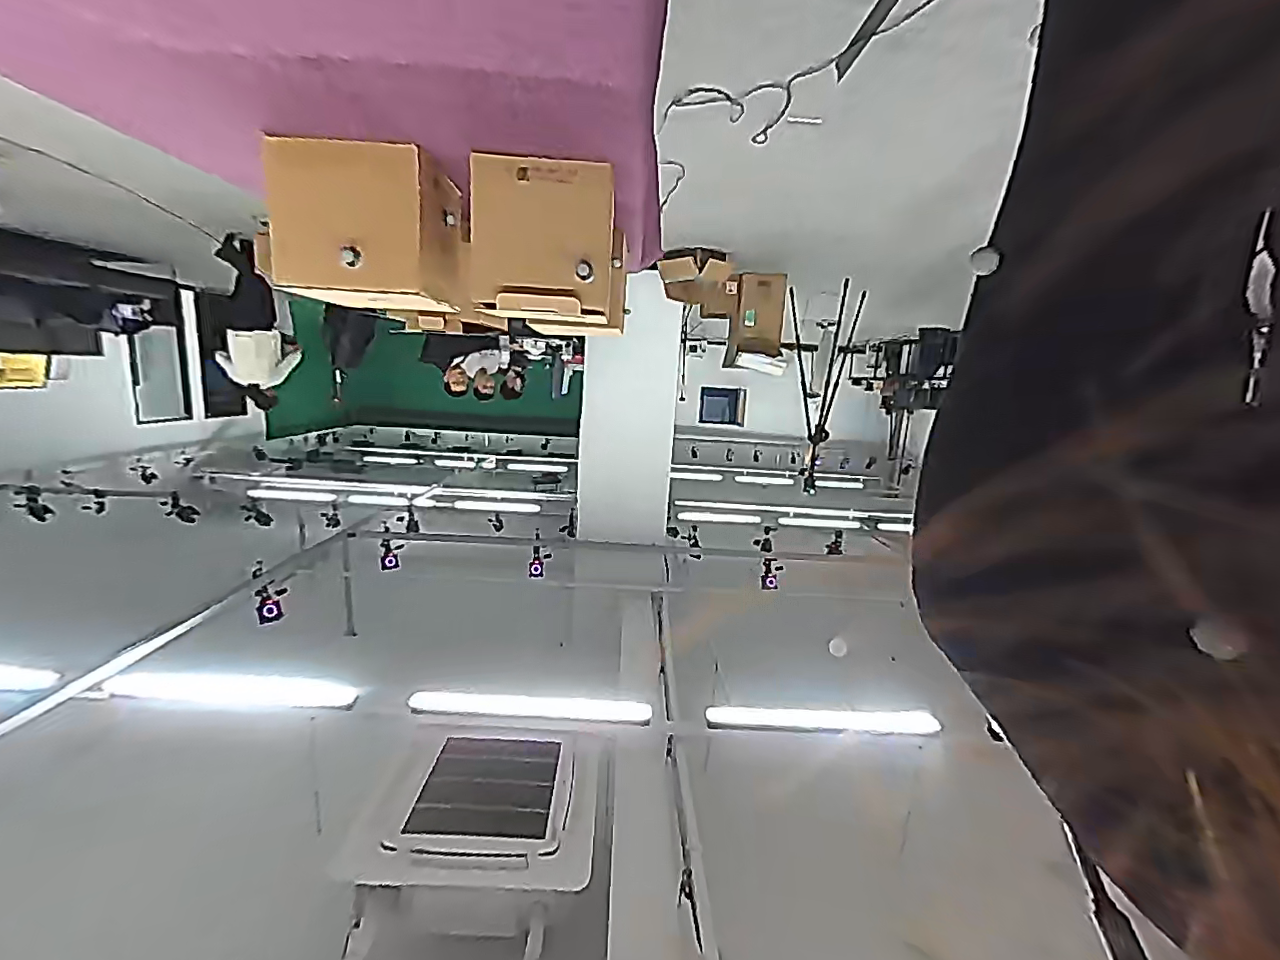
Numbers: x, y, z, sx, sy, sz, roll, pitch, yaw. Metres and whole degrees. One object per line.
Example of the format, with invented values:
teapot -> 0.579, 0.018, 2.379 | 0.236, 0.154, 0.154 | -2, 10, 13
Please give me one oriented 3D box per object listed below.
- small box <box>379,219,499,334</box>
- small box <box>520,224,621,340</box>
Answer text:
small box -> -0.363, -0.369, 1.003 | 0.168, 0.176, 0.179 | 3, -170, 1
small box -> -0.122, -0.355, 0.995 | 0.168, 0.176, 0.179 | 3, -170, -1
